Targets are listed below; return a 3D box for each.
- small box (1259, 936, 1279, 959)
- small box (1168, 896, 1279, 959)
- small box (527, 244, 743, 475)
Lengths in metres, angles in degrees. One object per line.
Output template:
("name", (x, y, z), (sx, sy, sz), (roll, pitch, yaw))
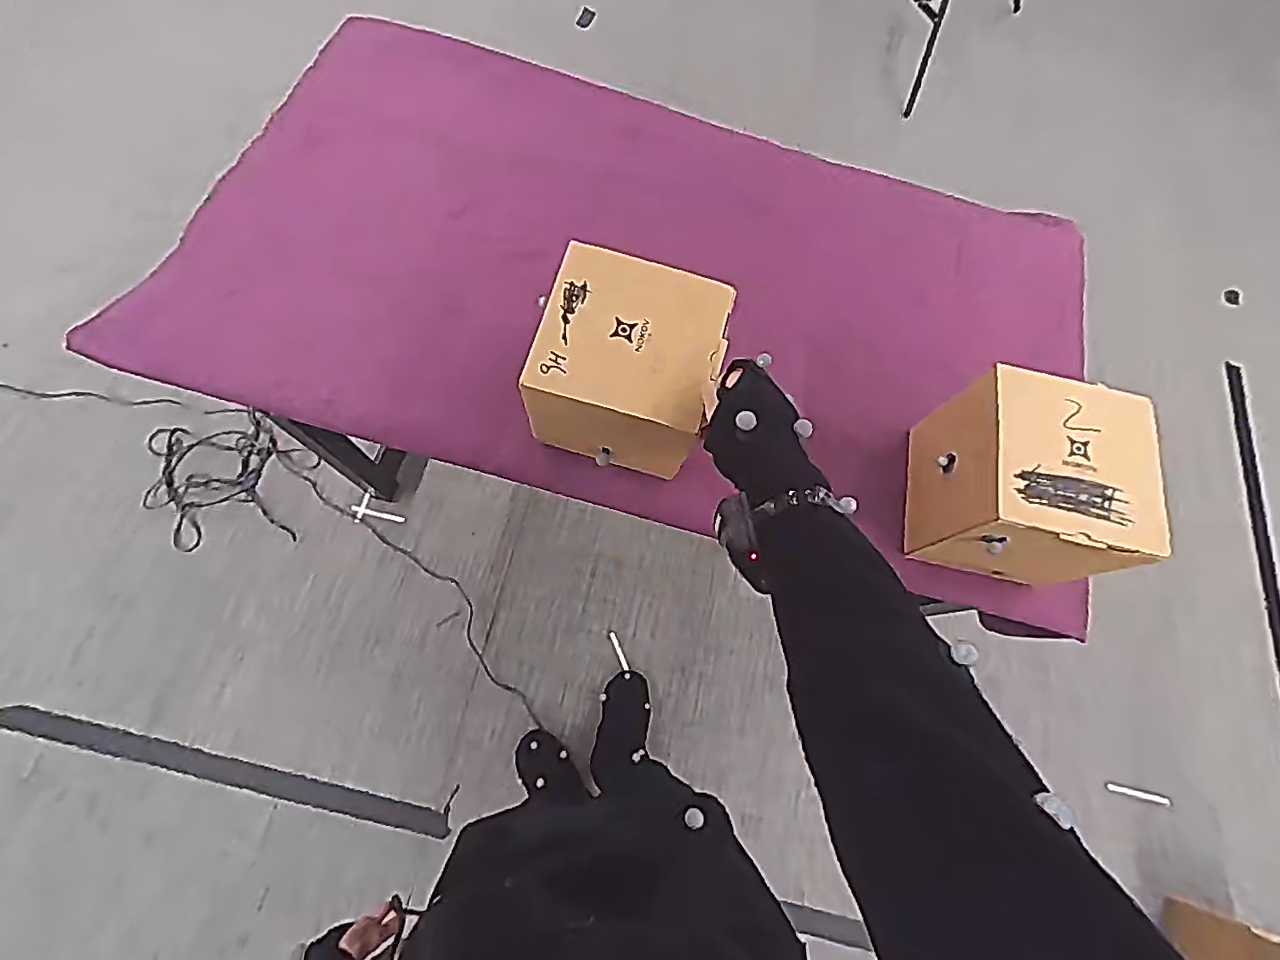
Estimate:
("small box", (1.271, 0.965, 0.963), (0.179, 0.176, 0.168), (18, 73, 0))
("small box", (1.250, 1.010, 1.118), (0.168, 0.176, 0.179), (20, 71, 1))
("small box", (-0.009, -0.116, 0.595), (0.179, 0.176, 0.168), (16, 74, -2))
